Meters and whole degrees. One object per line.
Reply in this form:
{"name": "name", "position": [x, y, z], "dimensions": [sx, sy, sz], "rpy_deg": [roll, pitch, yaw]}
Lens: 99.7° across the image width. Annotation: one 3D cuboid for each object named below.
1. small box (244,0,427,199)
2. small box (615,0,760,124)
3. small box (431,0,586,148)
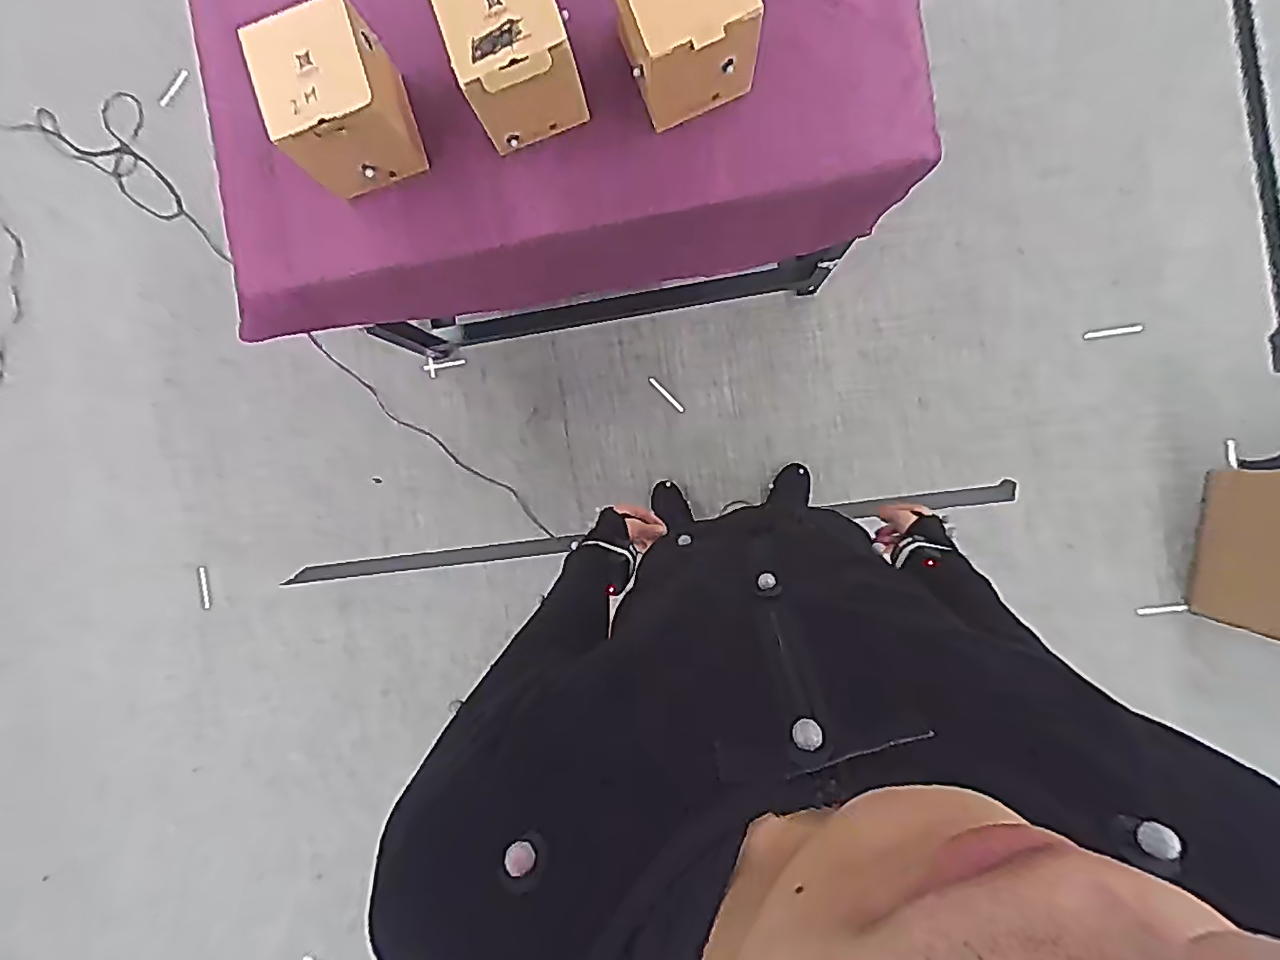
{"name": "small box", "position": [-0.469, -0.589, 0.857], "dimensions": [0.168, 0.176, 0.179], "rpy_deg": [-17, 90, 5]}
{"name": "small box", "position": [0.066, -0.680, 0.814], "dimensions": [0.168, 0.176, 0.179], "rpy_deg": [-21, 89, 5]}
{"name": "small box", "position": [-0.194, -0.653, 0.834], "dimensions": [0.168, 0.176, 0.179], "rpy_deg": [-19, 89, 5]}
